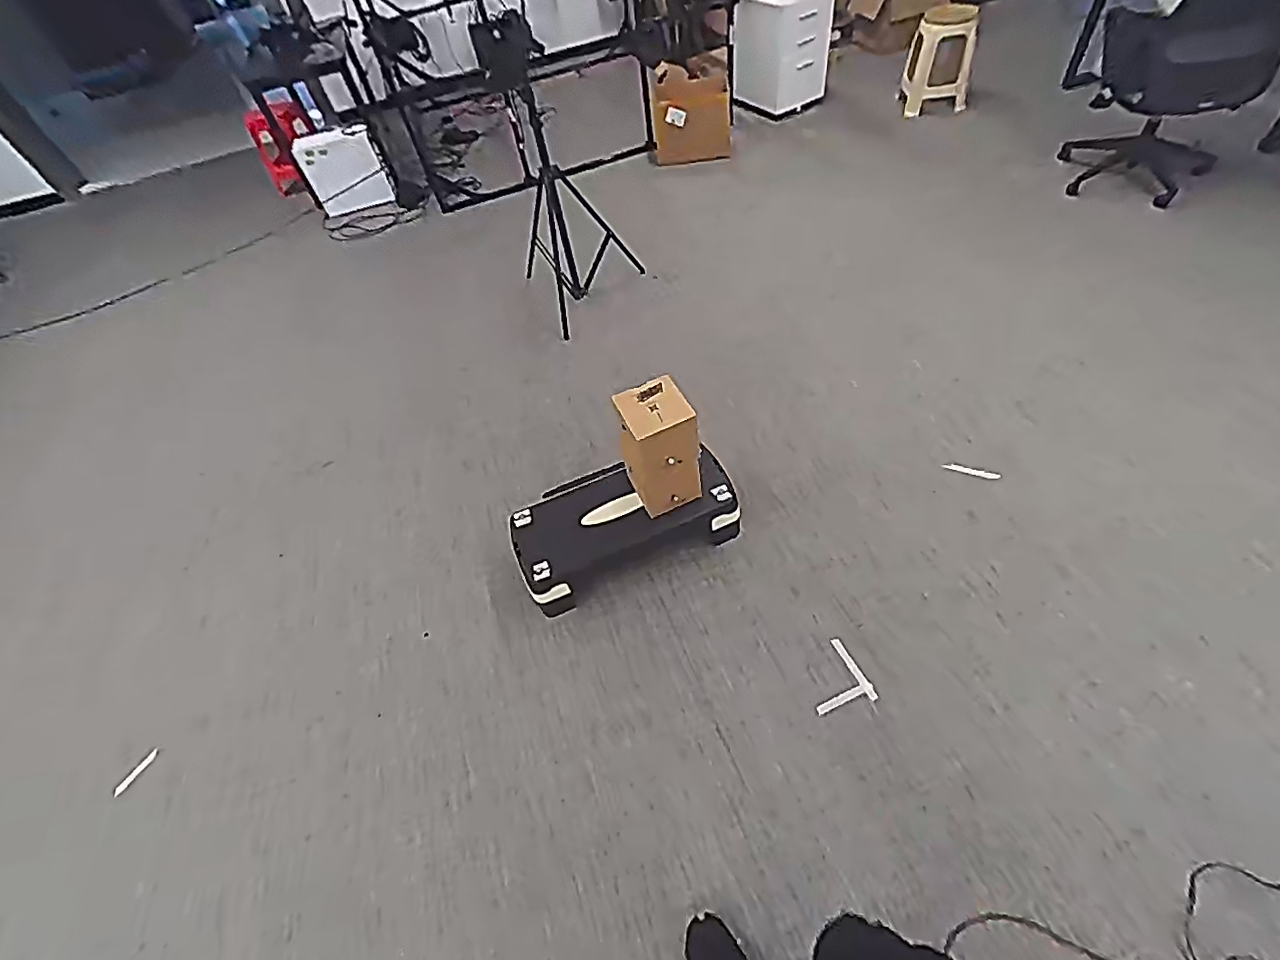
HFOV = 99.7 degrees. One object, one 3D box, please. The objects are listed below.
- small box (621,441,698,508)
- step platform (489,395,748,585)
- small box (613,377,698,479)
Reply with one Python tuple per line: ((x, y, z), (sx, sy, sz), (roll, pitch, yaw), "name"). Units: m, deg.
((0.059, -0.030, 1.562), (0.168, 0.176, 0.179), (-24, 53, -8), "small box")
((-0.052, 0.024, 1.495), (0.684, 0.204, 0.286), (-22, 52, -8), "step platform")
((0.043, -0.135, 1.437), (0.168, 0.176, 0.179), (-24, 53, -8), "small box")
